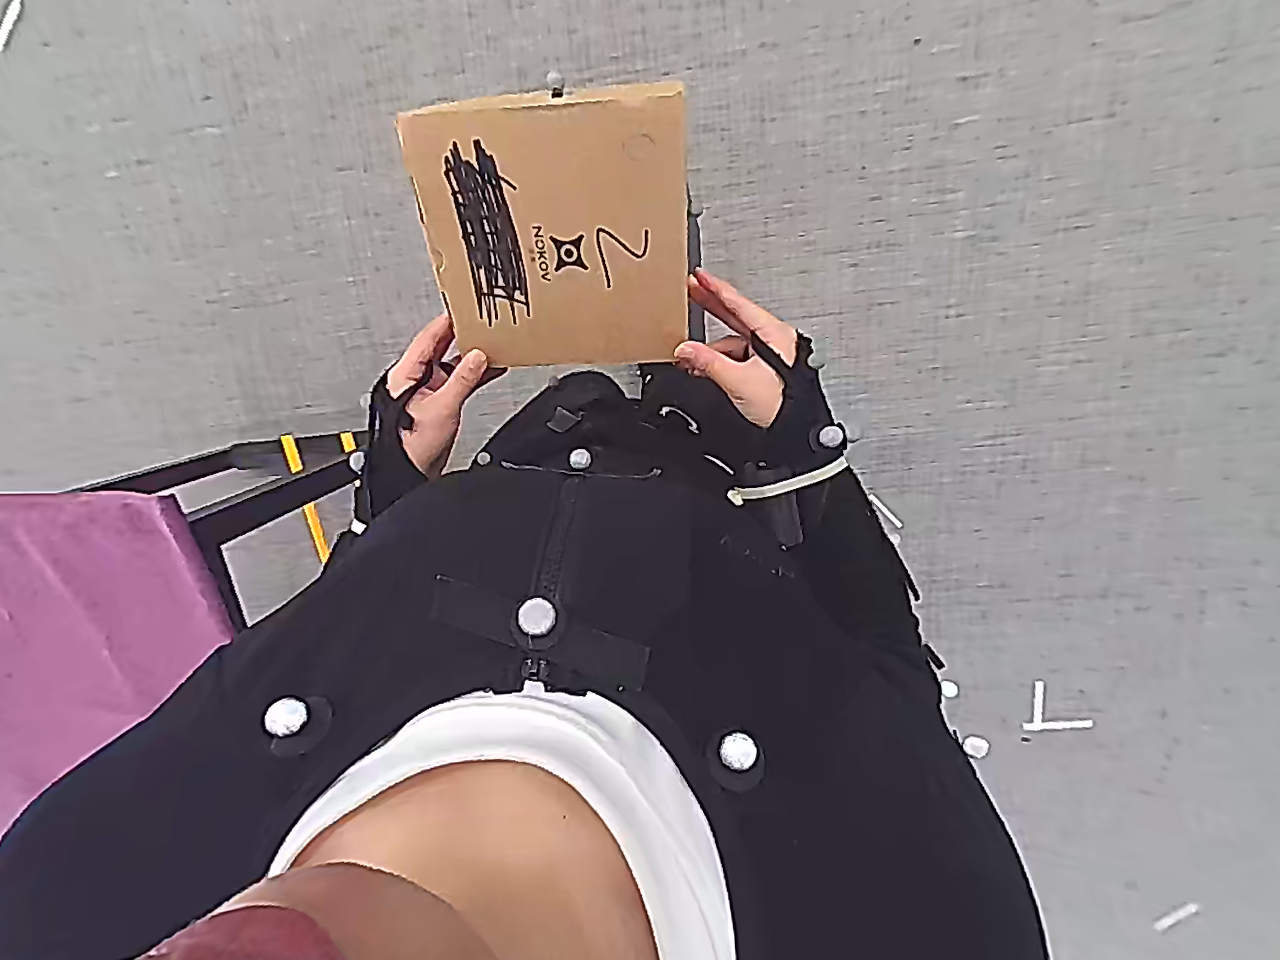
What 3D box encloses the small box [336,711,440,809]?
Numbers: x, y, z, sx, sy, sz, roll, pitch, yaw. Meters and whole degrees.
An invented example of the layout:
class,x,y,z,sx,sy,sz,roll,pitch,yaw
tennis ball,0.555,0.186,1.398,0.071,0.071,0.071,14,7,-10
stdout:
class,x,y,z,sx,sy,sz,roll,pitch,yaw
small box,-0.674,0.752,1.463,0.179,0.176,0.168,-8,105,6
